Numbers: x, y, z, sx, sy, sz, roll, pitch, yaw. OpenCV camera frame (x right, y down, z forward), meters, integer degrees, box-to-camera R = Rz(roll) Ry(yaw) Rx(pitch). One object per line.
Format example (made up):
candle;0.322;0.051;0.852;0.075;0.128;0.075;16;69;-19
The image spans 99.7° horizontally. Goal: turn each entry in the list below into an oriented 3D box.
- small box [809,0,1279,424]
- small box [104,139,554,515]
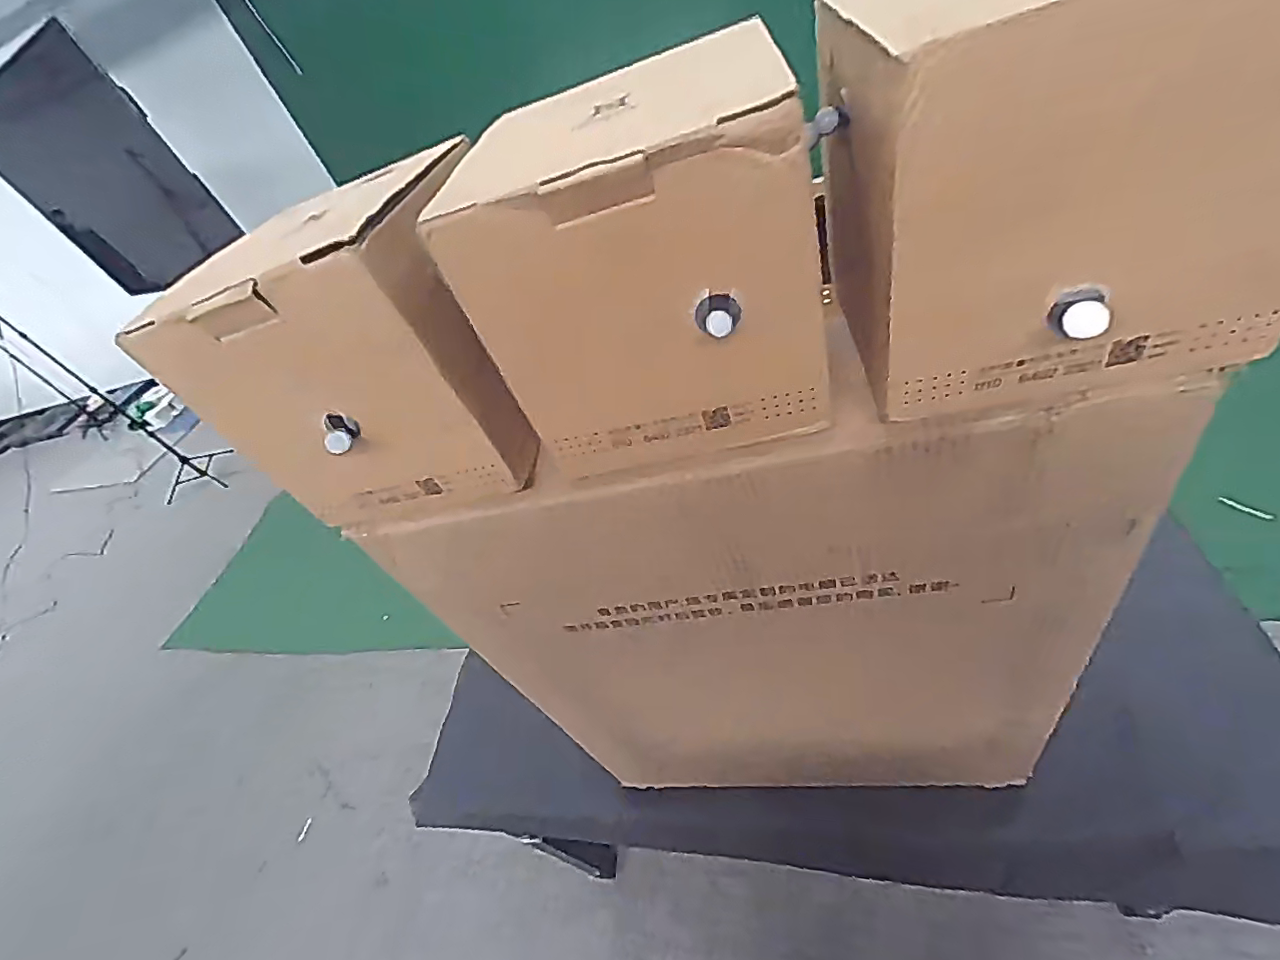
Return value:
small box;0.181;-0.153;0.262;0.168;0.176;0.179;-9;46;16
small box;-0.177;-0.091;0.373;0.168;0.176;0.179;-10;45;18
